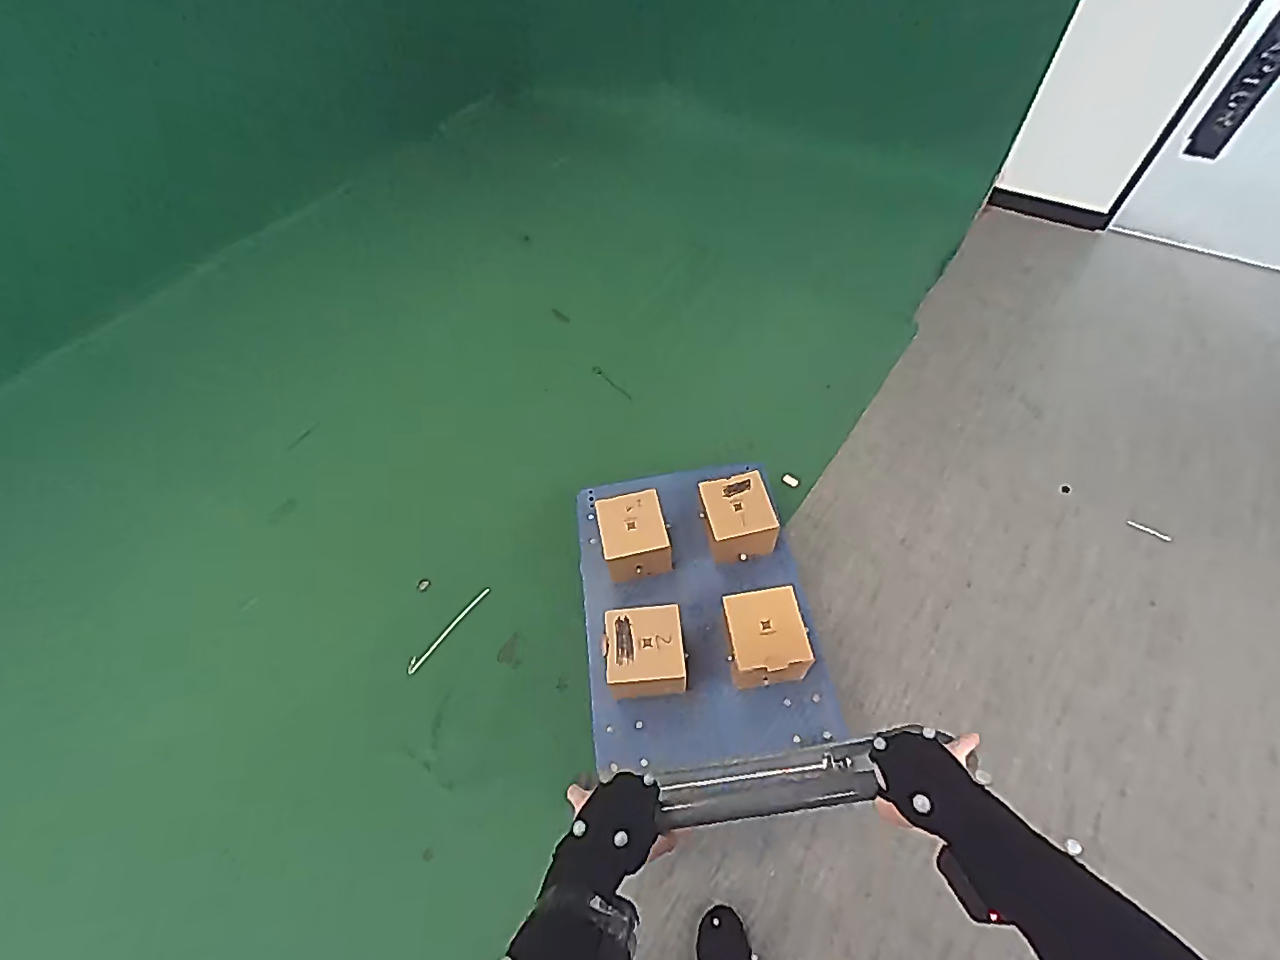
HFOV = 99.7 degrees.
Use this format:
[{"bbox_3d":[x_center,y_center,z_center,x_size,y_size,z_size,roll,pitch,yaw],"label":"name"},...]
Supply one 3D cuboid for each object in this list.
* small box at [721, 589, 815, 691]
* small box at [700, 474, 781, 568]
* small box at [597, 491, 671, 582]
[{"bbox_3d":[0.290,0.378,1.269,0.168,0.176,0.179,-9,57,-1],"label":"small box"},{"bbox_3d":[0.259,0.112,1.441,0.168,0.176,0.179,-12,58,-2],"label":"small box"},{"bbox_3d":[-0.013,0.158,1.435,0.168,0.176,0.179,-11,57,-3],"label":"small box"}]
